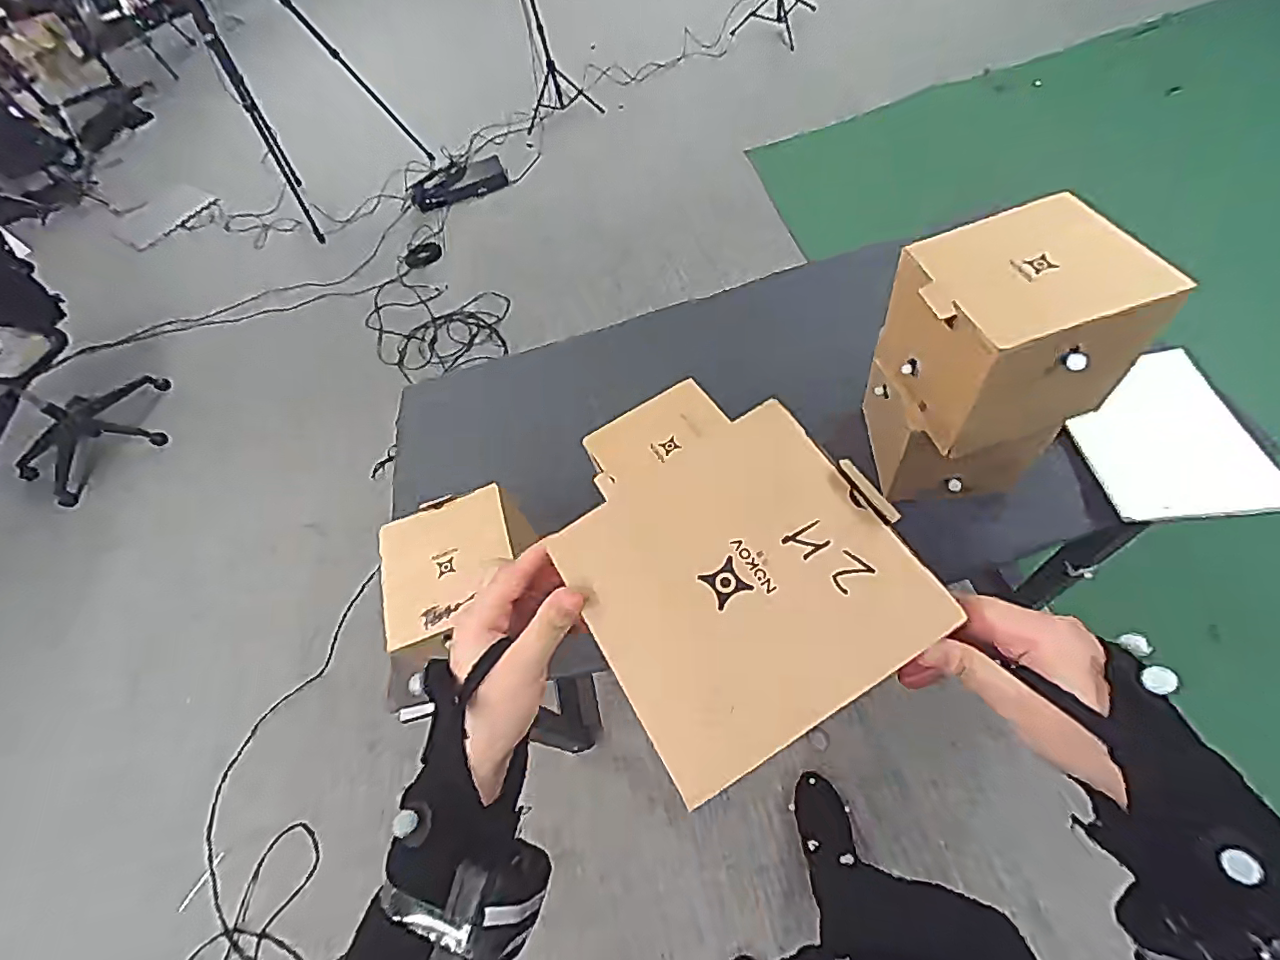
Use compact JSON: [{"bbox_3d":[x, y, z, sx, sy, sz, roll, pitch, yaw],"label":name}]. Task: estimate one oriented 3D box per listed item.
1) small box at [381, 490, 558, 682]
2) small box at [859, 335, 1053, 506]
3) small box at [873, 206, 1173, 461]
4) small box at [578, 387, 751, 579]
[{"bbox_3d":[-0.227,0.148,0.733,0.168,0.176,0.179,-21,56,-1],"label":"small box"},{"bbox_3d":[0.402,-0.082,0.728,0.168,0.176,0.179,-4,58,11],"label":"small box"},{"bbox_3d":[0.378,-0.148,0.579,0.179,0.176,0.168,-18,56,3],"label":"small box"},{"bbox_3d":[0.043,0.010,0.759,0.179,0.176,0.168,-31,58,-7],"label":"small box"}]
